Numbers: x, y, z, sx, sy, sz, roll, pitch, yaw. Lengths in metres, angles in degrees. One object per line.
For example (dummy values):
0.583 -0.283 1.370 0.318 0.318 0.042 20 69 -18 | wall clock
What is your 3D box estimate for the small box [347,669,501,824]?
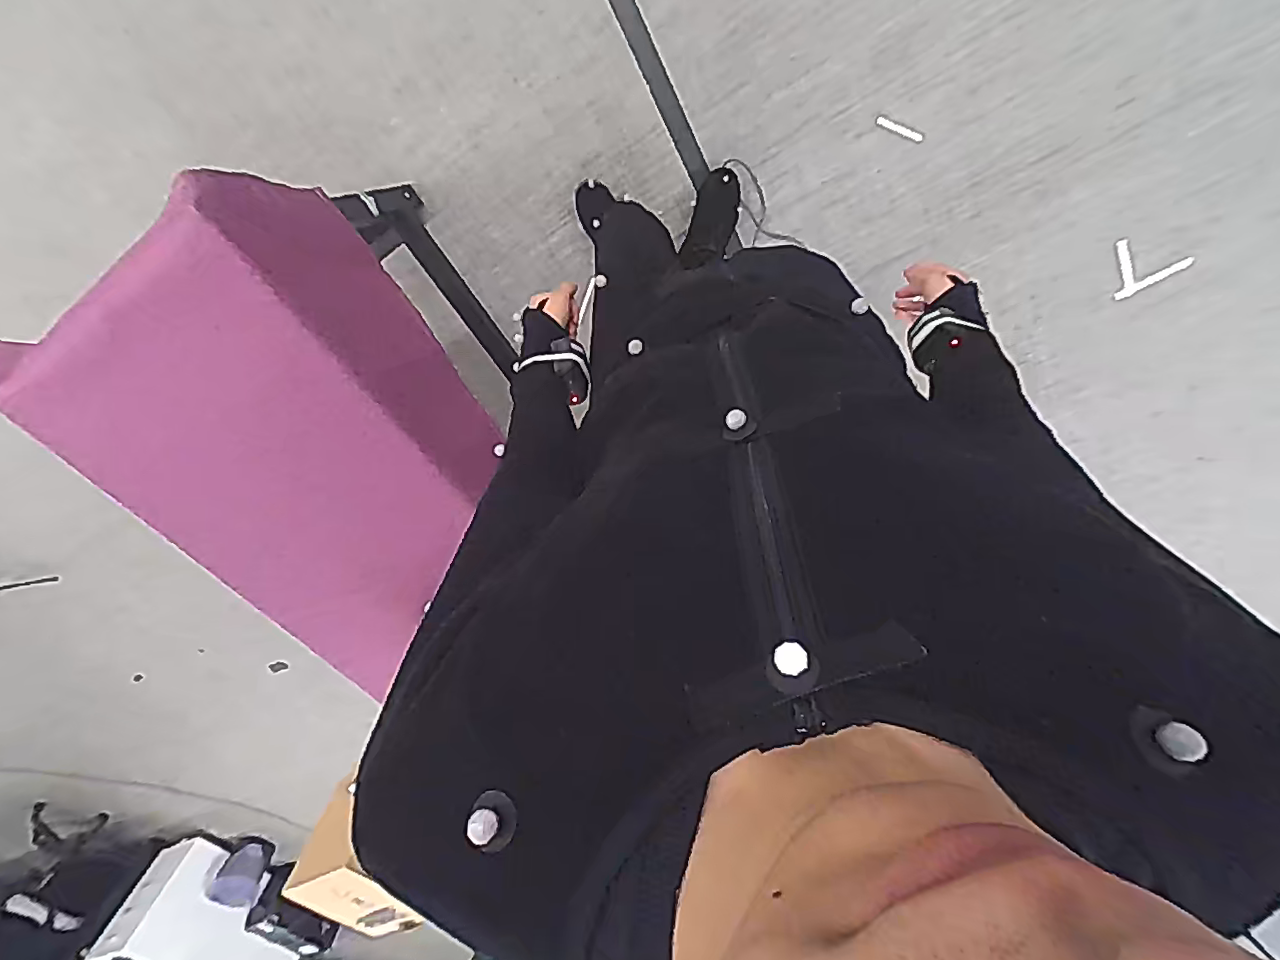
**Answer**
-0.381 0.483 0.987 0.179 0.176 0.168 -37 114 23 | small box
